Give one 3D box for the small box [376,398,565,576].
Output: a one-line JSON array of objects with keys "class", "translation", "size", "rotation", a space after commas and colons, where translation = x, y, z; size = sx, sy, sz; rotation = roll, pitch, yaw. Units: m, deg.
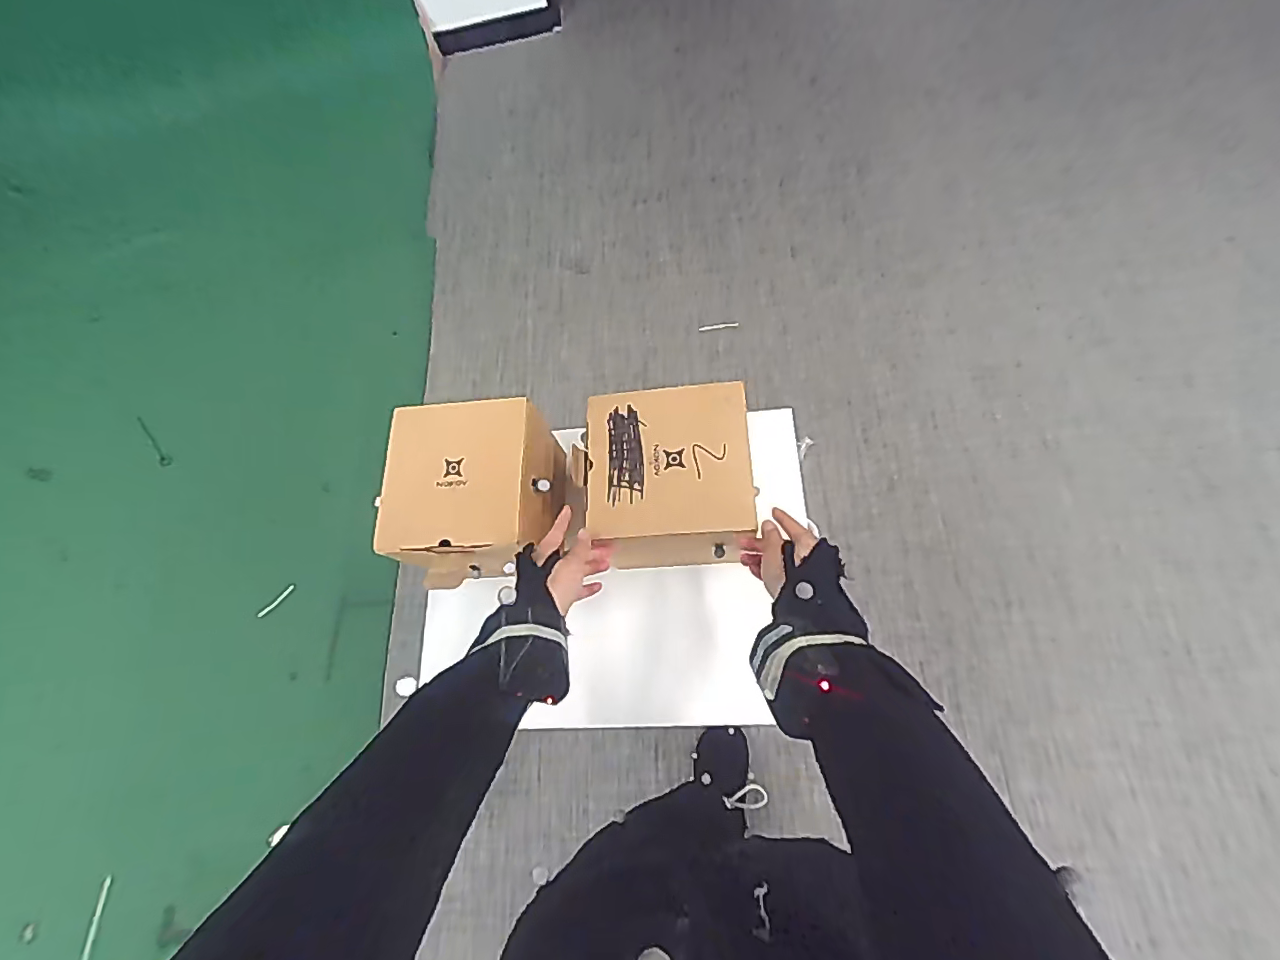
[{"class": "small box", "translation": [-0.194, 0.017, 0.673], "size": [0.168, 0.176, 0.179], "rotation": [-3, 71, 7]}]
